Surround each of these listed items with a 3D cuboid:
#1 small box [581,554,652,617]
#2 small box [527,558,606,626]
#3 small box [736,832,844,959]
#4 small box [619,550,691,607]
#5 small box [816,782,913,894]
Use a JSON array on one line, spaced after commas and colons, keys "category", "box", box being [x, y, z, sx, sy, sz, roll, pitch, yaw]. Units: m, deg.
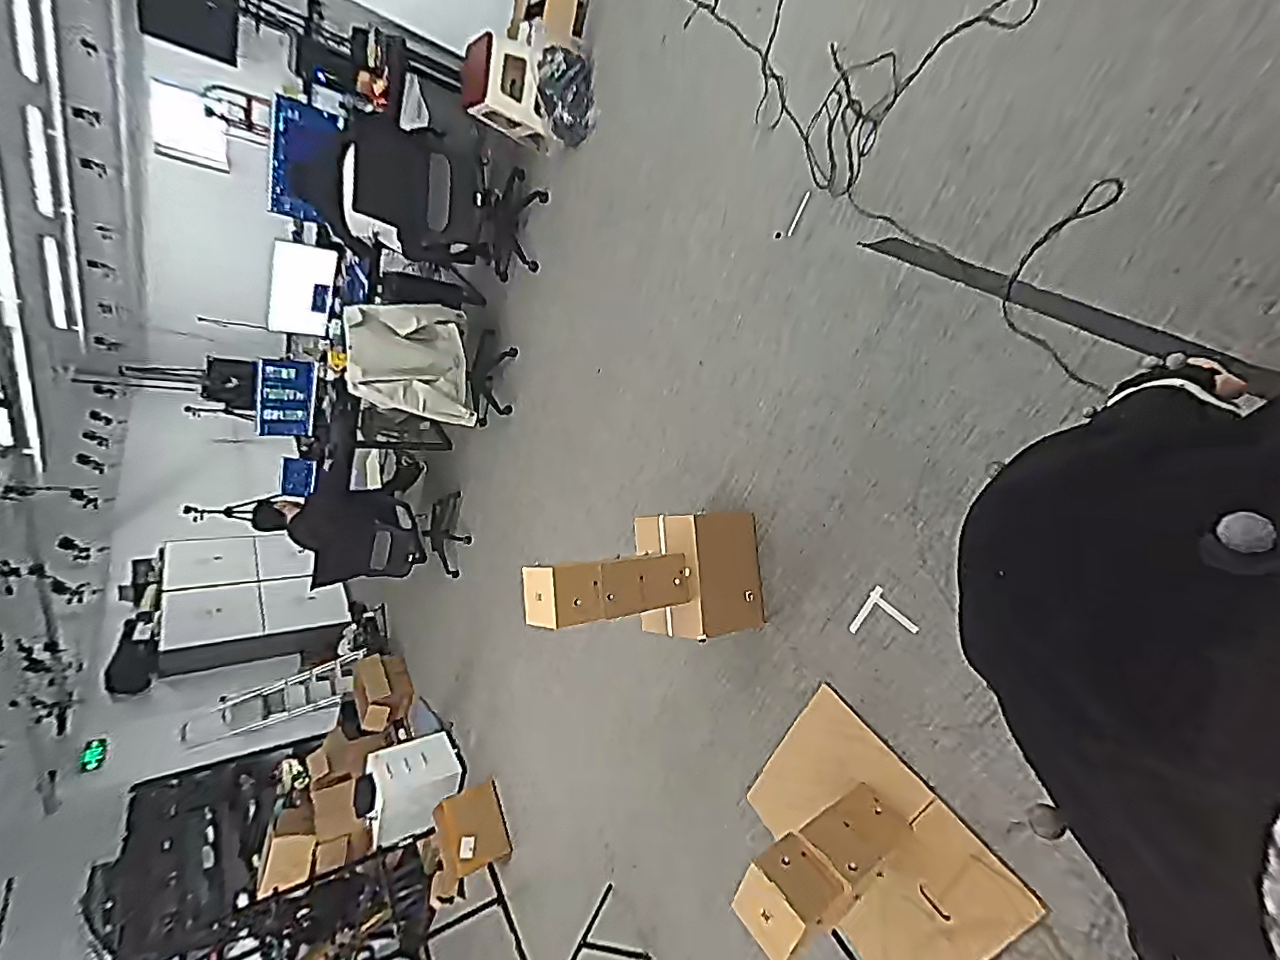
[{"category": "small box", "box": [-0.083, 0.321, 1.673, 0.179, 0.176, 0.168, -11, 82, 51]}, {"category": "small box", "box": [-0.209, 0.318, 1.569, 0.179, 0.176, 0.168, -11, 82, 51]}, {"category": "small box", "box": [0.373, 1.023, 1.335, 0.168, 0.176, 0.179, 35, 118, 45]}, {"category": "small box", "box": [0.047, 0.319, 1.773, 0.179, 0.176, 0.168, -11, 82, 50]}, {"category": "small box", "box": [0.637, 1.003, 1.527, 0.168, 0.176, 0.179, 35, 117, 43]}]
